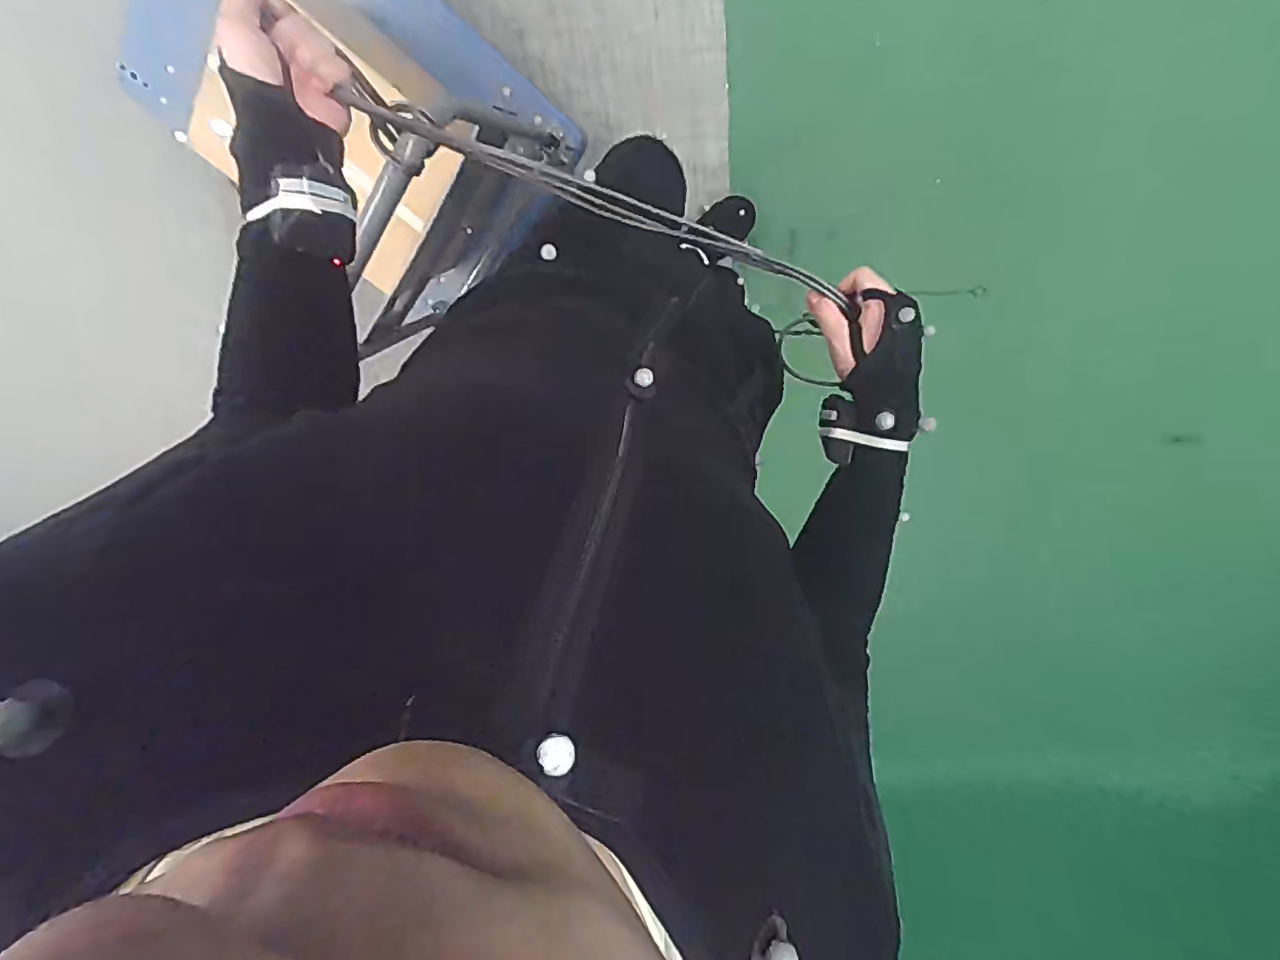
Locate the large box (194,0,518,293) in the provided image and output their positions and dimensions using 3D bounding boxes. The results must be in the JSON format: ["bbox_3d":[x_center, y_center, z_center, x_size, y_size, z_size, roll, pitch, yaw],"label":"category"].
[{"bbox_3d":[-0.516,-0.640,1.050,0.408,0.320,0.320,37,117,-15],"label":"large box"}]
